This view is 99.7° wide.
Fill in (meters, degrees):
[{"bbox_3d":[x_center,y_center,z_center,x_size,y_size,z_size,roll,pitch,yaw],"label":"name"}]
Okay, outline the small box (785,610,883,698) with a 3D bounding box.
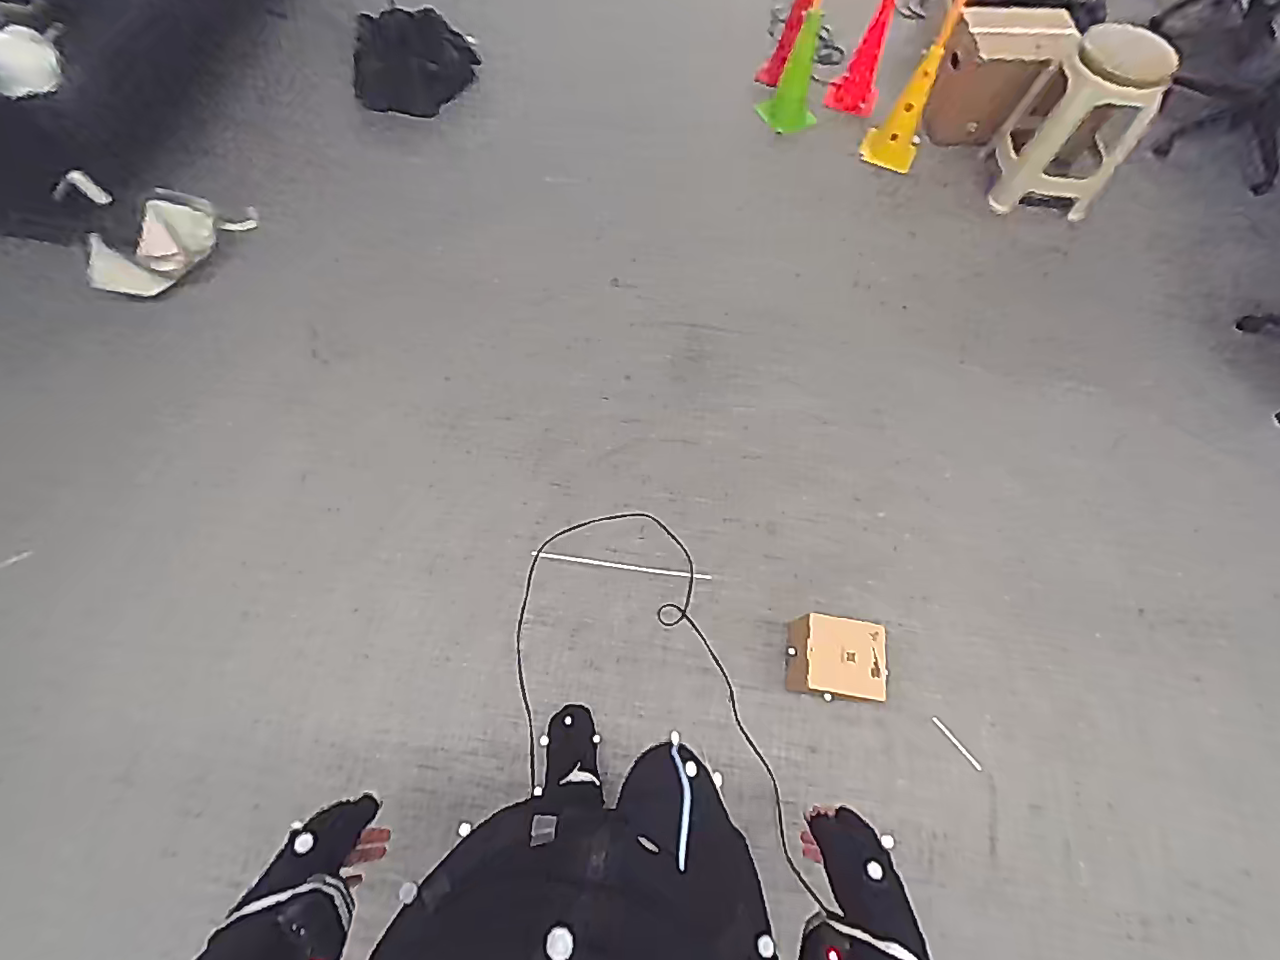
[{"bbox_3d":[0.451,0.416,1.277,0.179,0.176,0.168,9,67,2],"label":"small box"}]
